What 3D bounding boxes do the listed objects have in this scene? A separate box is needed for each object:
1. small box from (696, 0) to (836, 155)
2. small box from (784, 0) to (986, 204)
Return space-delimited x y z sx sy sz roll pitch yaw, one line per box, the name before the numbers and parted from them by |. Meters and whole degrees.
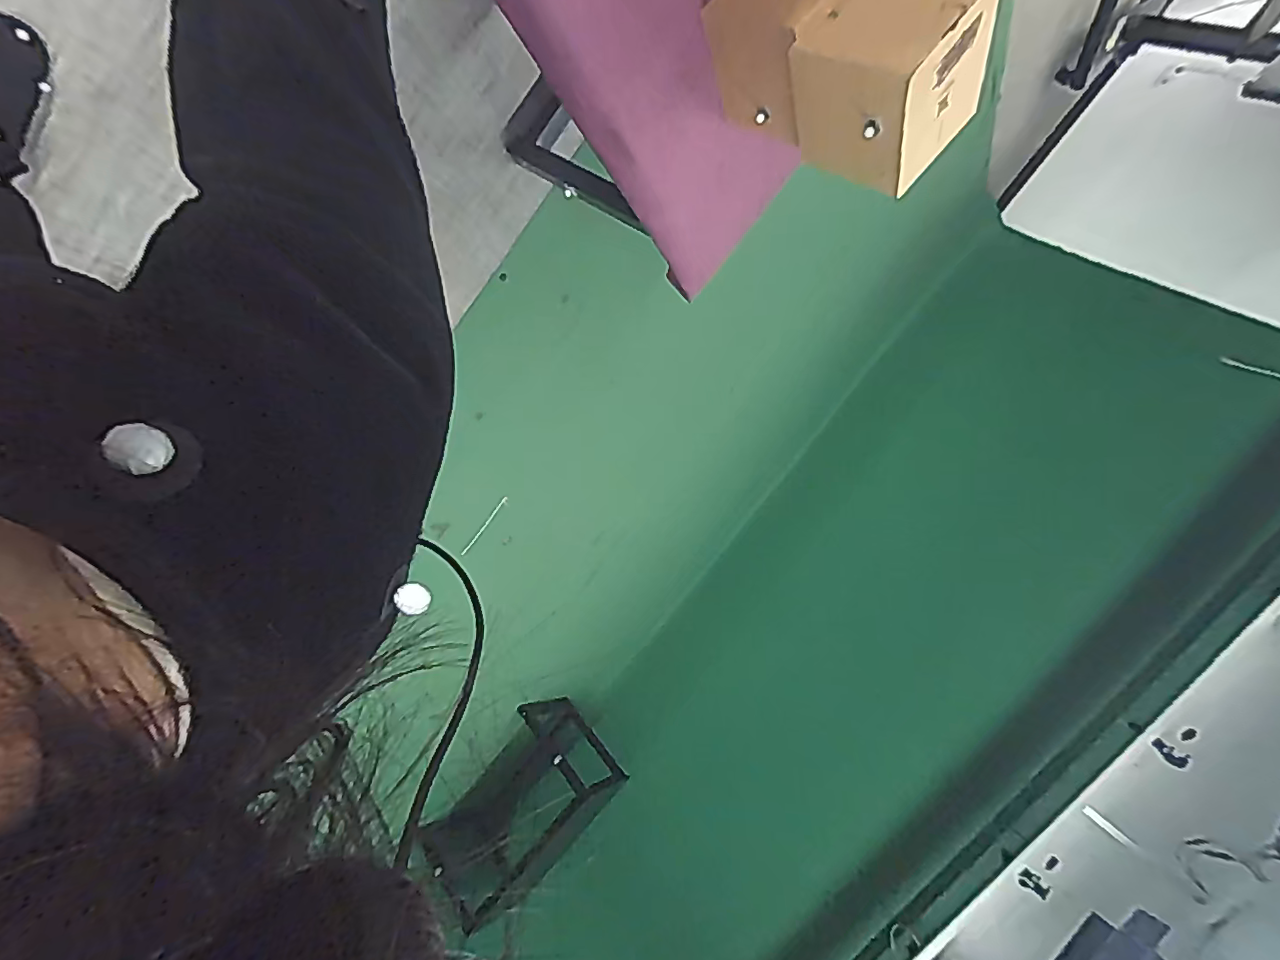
small box | 0.207 -0.622 0.779 0.168 0.176 0.179 -47 151 -2
small box | 0.307 -0.512 0.709 0.168 0.176 0.179 -48 152 -1
